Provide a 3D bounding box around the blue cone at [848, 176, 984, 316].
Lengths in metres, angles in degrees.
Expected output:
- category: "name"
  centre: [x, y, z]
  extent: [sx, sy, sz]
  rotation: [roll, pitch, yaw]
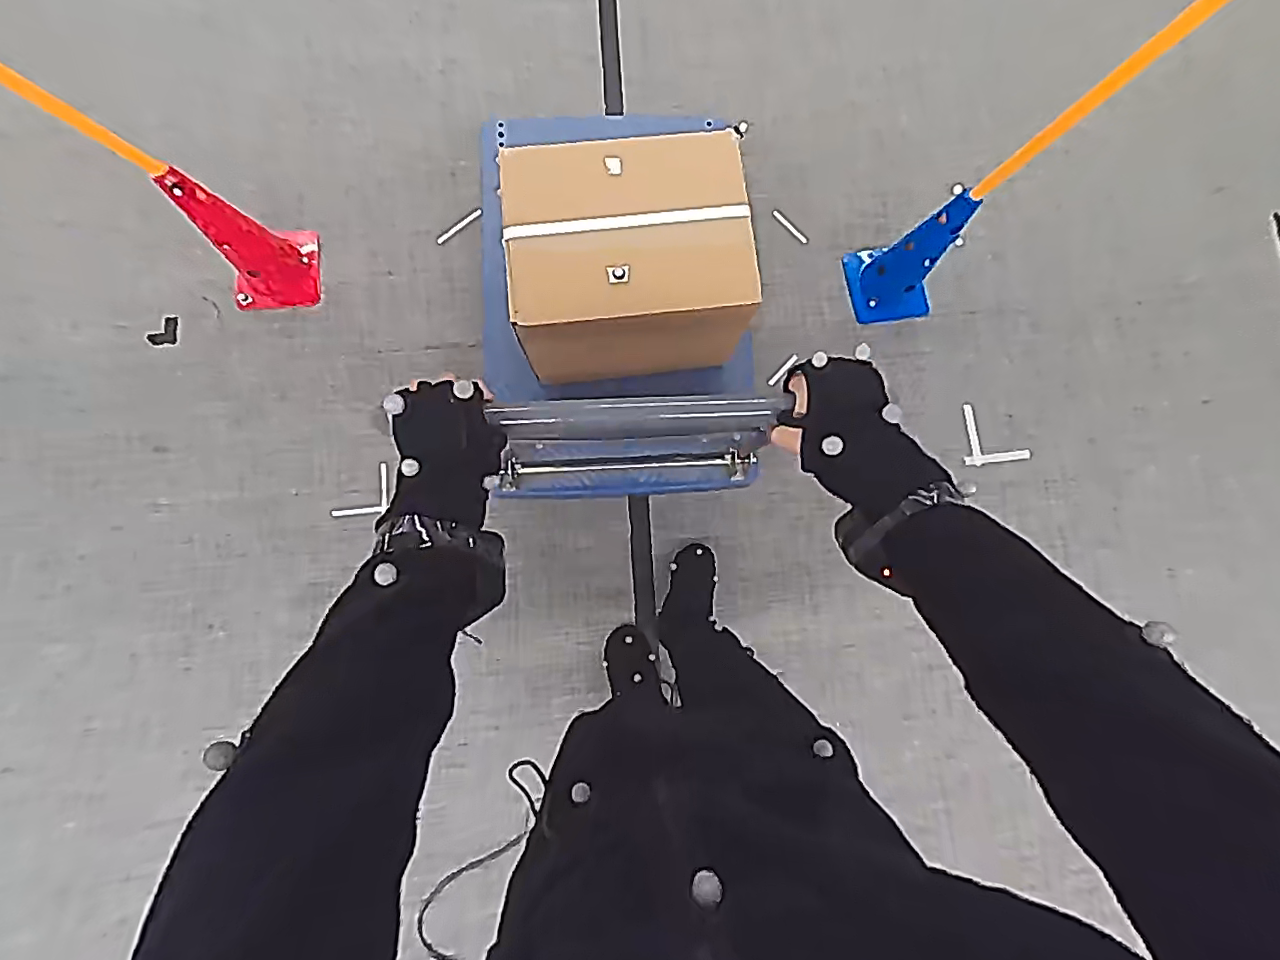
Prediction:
- category: "blue cone"
  centre: [0.655, -0.545, 1.246]
  extent: [0.193, 0.380, 0.192]
  rotation: [-8, 81, -4]
